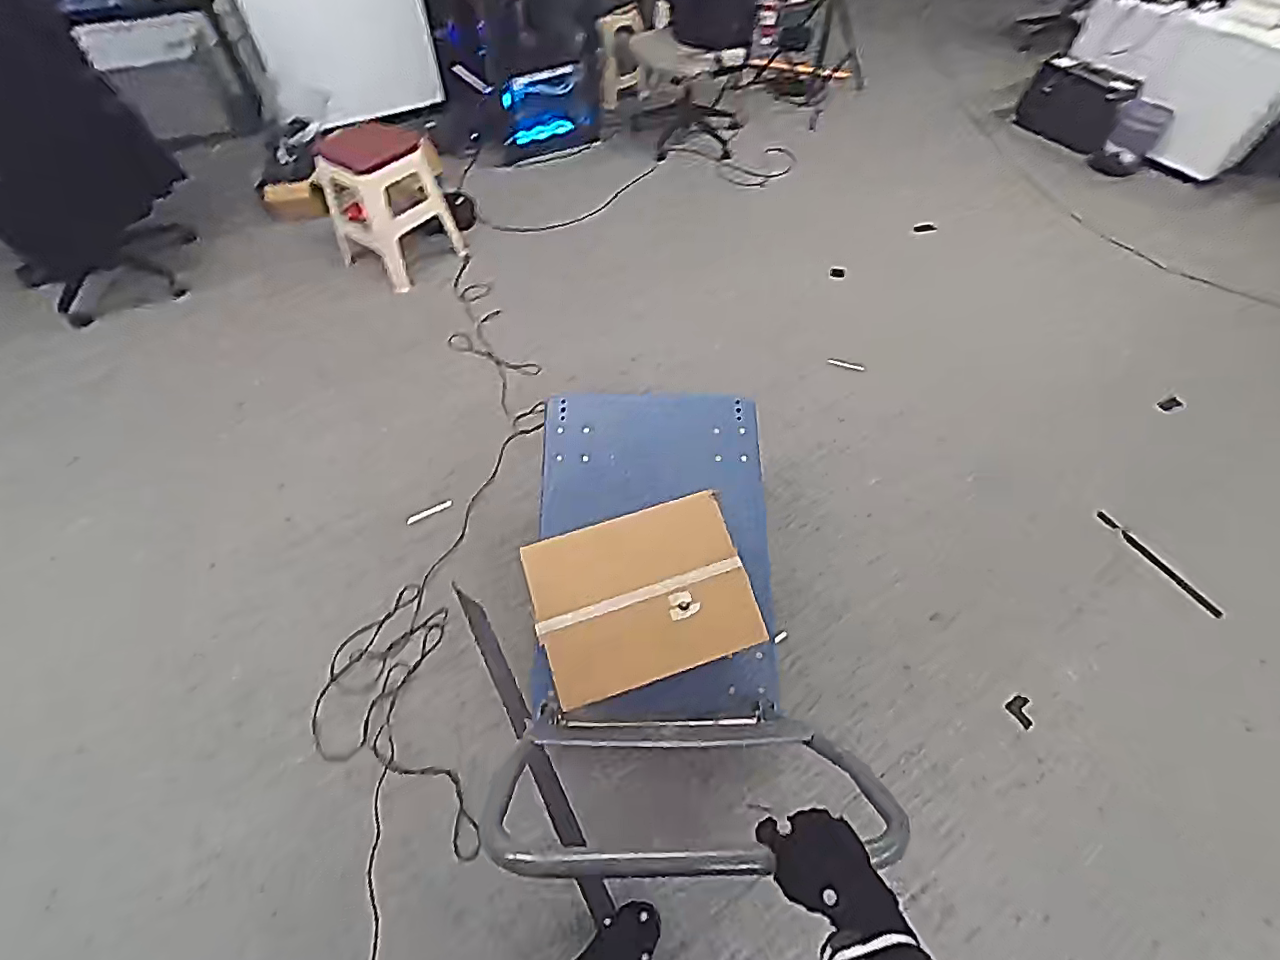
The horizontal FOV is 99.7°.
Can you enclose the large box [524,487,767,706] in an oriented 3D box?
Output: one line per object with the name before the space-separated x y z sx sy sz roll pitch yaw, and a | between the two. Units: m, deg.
large box | 0.000 0.258 1.179 0.408 0.320 0.320 -17 75 -8
